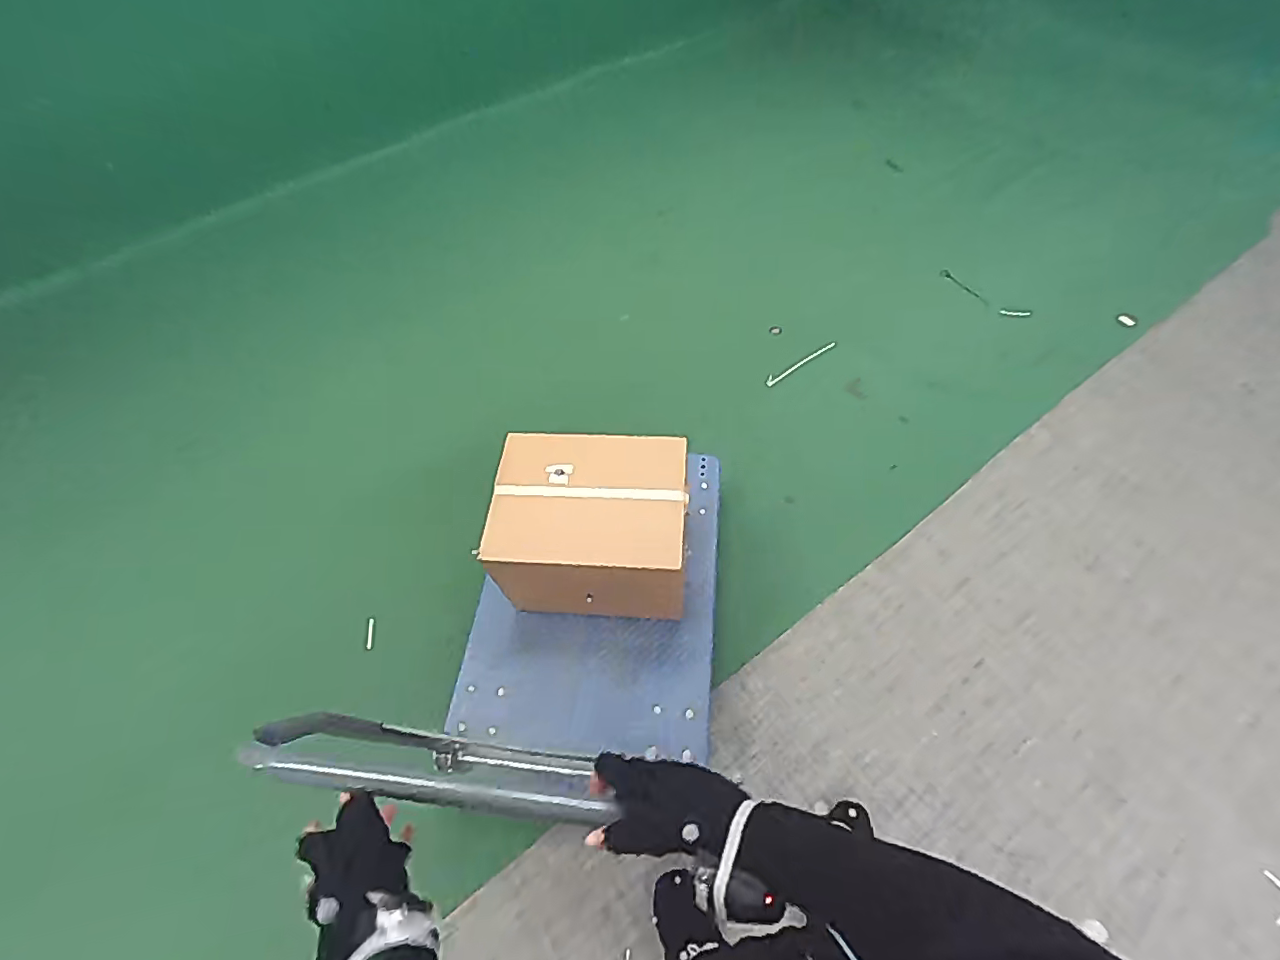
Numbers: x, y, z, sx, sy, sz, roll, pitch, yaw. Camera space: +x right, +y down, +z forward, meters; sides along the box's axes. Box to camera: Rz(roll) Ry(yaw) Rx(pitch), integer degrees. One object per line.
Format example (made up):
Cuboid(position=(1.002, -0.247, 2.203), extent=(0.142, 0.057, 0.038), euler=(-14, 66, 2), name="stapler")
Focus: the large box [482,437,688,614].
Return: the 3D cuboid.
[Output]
Cuboid(position=(-0.094, 0.113, 1.256), extent=(0.408, 0.320, 0.320), euler=(2, 58, 7), name="large box")
